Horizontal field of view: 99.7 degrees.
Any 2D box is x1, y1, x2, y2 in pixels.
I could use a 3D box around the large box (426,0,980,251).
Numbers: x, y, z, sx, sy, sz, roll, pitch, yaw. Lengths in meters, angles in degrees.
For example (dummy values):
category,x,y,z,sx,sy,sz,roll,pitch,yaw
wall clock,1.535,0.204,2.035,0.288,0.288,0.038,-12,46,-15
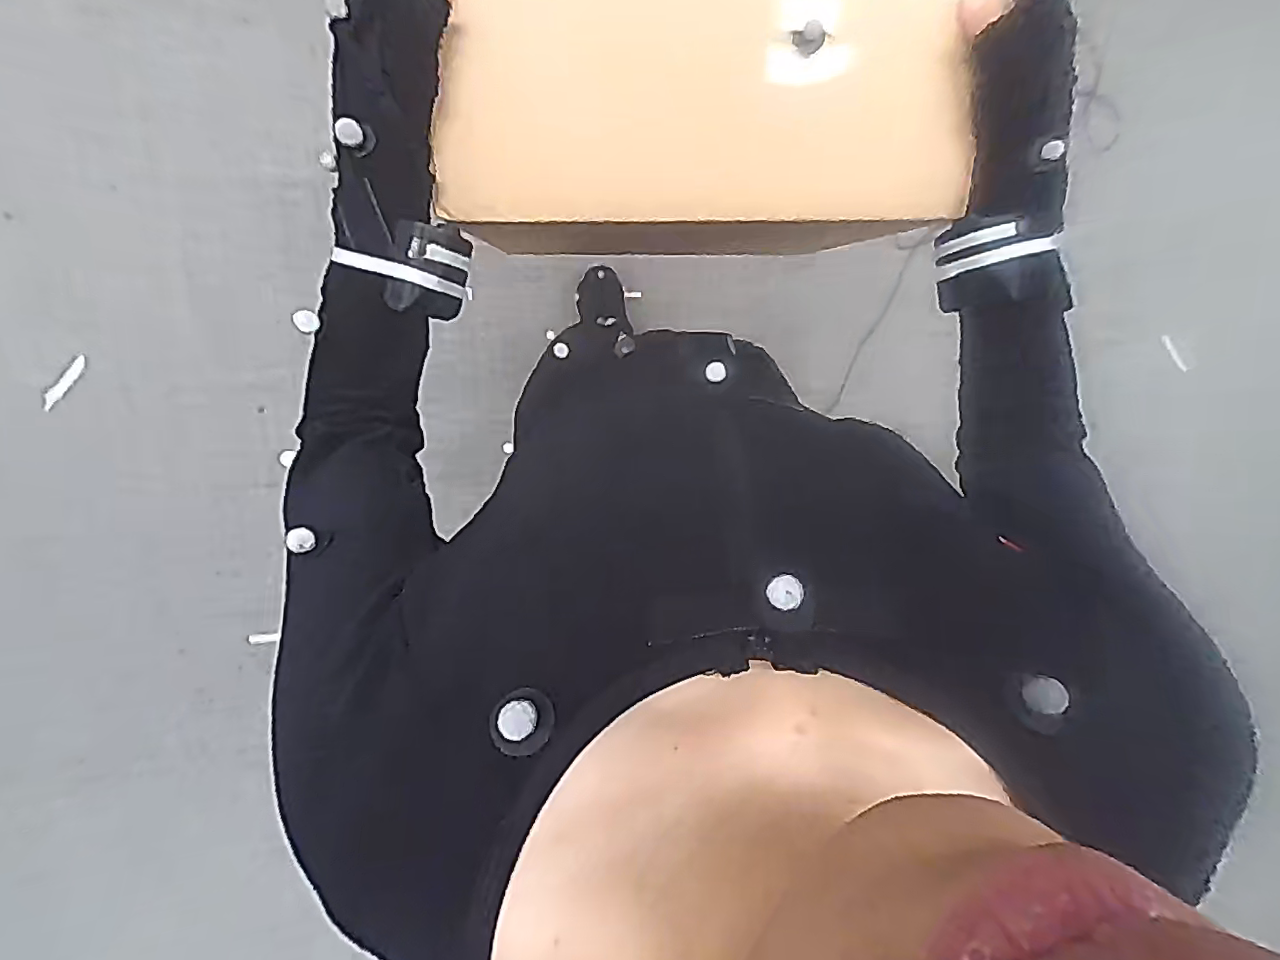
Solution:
category,x,y,z,sx,sy,sz,roll,pitch,yaw
large box,0.036,-0.405,0.515,0.408,0.320,0.320,-2,108,-4
